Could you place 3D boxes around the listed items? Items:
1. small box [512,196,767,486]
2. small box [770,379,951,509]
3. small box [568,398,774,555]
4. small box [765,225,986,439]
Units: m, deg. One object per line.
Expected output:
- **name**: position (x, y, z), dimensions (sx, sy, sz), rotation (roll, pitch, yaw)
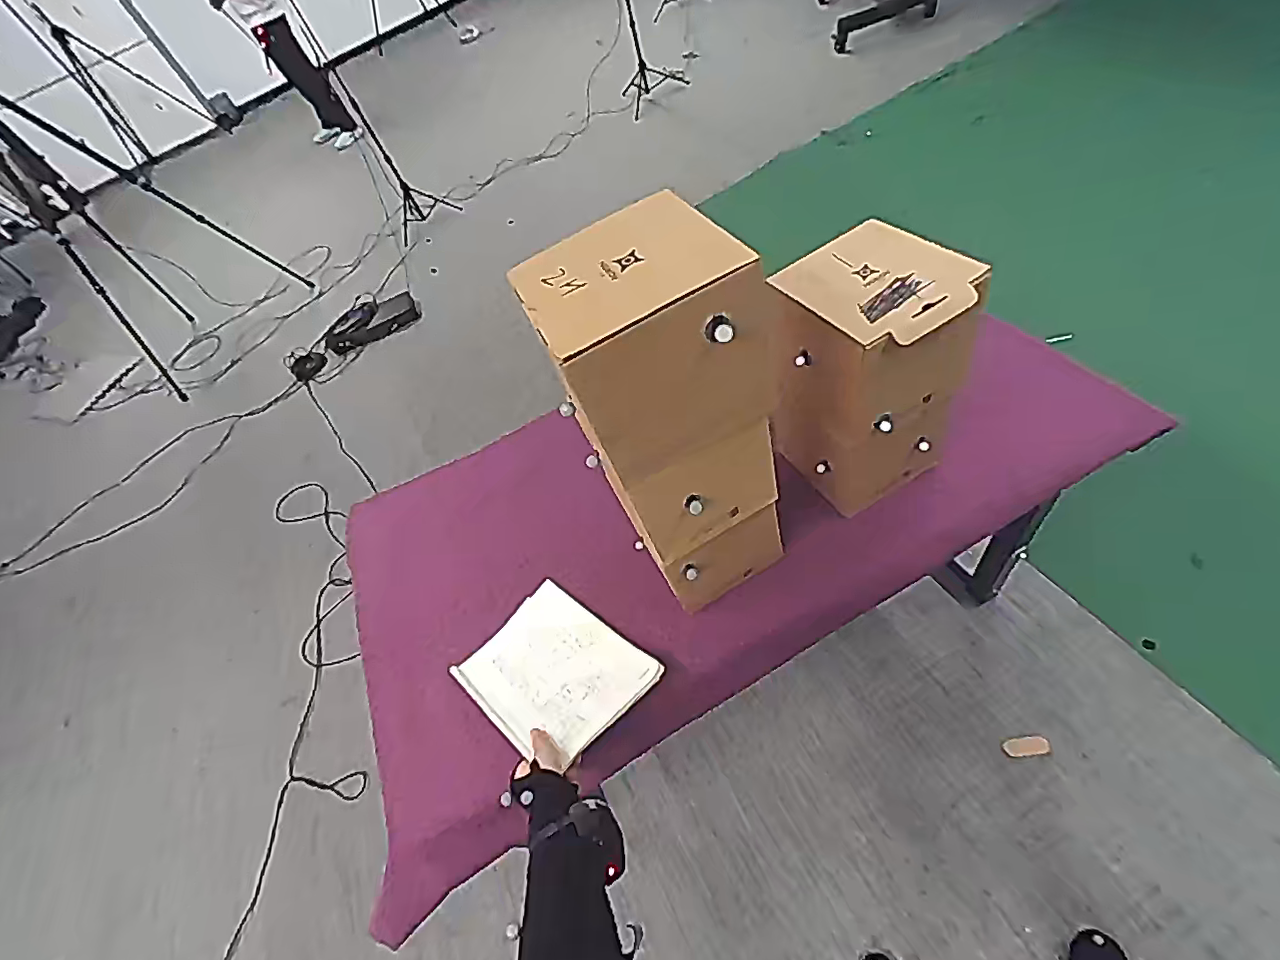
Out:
- **small box**: position (0.008, -0.129, 0.517), dimensions (0.179, 0.176, 0.168), rotation (-29, 49, -3)
- **small box**: position (0.316, -0.080, 0.800), dimensions (0.168, 0.176, 0.179), rotation (-29, 50, -5)
- **small box**: position (0.043, -0.033, 0.647), dimensions (0.168, 0.176, 0.179), rotation (-30, 50, -4)
- **small box**: position (0.279, -0.175, 0.672), dimensions (0.168, 0.176, 0.179), rotation (-30, 49, -6)
